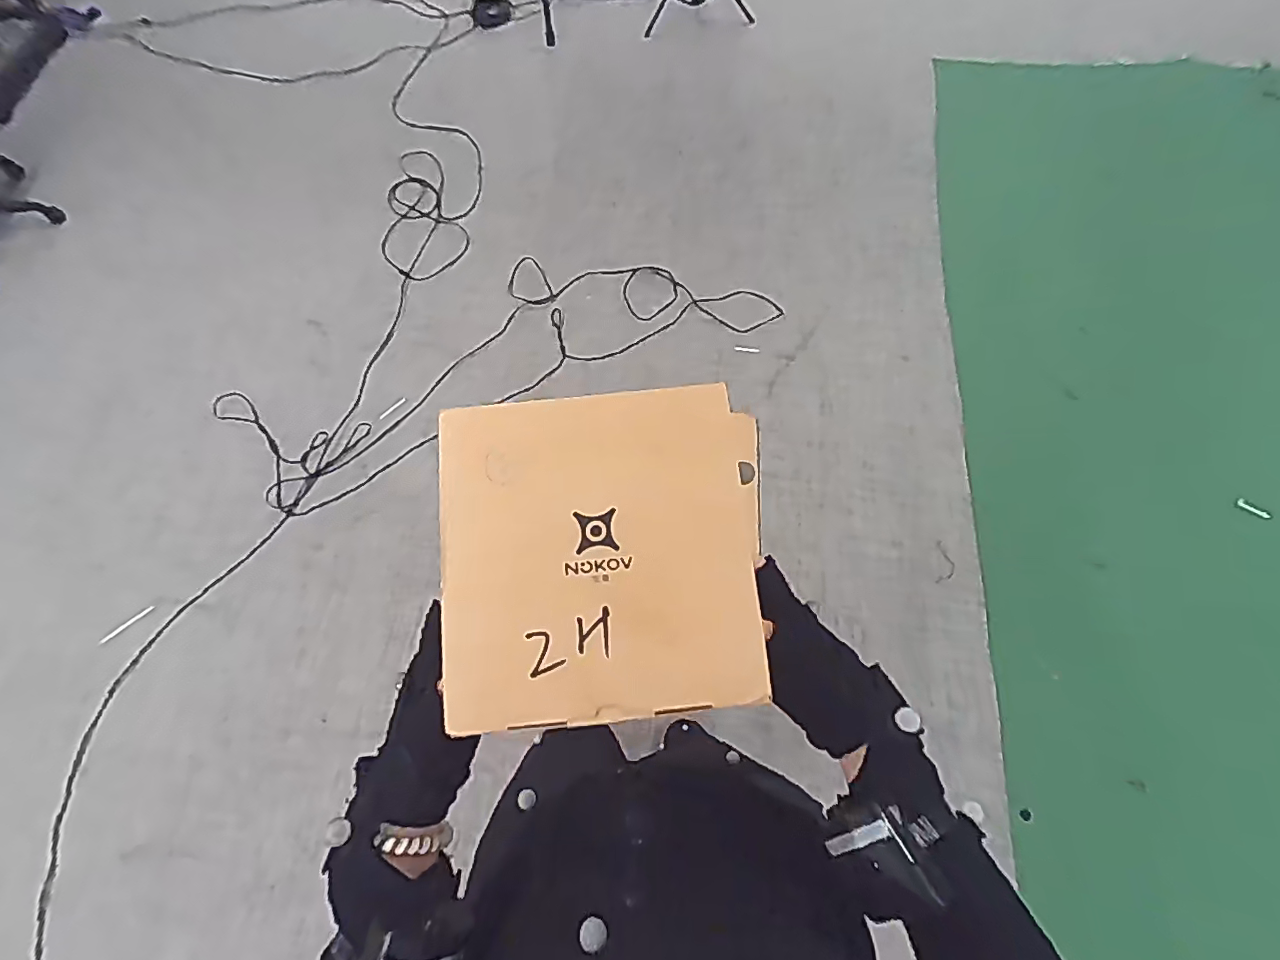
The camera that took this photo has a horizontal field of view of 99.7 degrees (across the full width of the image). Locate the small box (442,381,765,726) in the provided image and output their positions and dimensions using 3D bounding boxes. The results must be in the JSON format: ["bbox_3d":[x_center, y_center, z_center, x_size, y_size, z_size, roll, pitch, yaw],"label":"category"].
[{"bbox_3d":[-0.025,0.051,0.369,0.168,0.176,0.179,-6,78,-1],"label":"small box"}]
